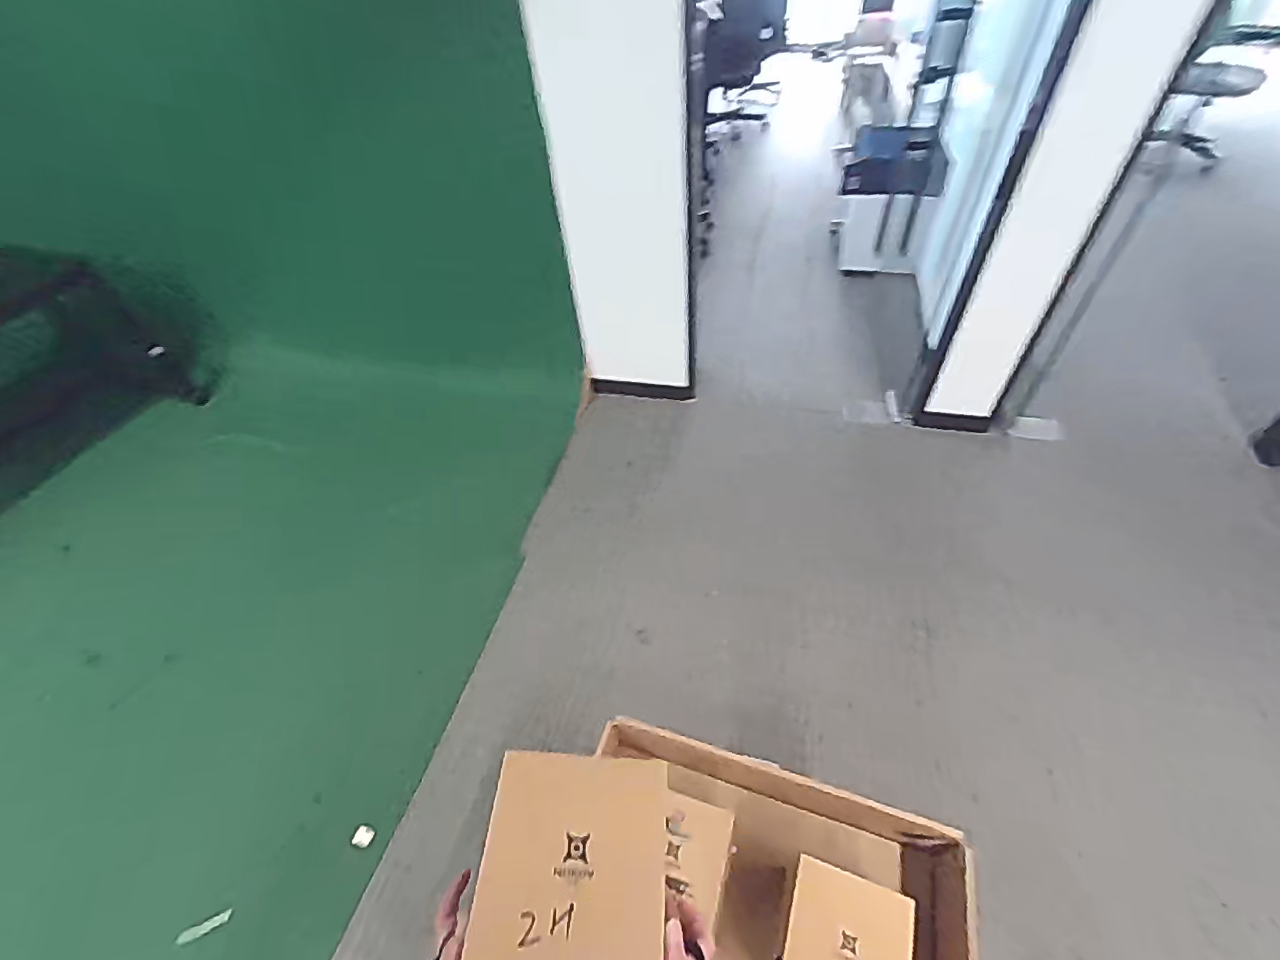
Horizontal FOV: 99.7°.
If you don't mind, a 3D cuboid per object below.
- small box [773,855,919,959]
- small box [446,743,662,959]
[{"bbox_3d":[0.296,0.697,0.800,0.168,0.176,0.179,13,52,17],"label":"small box"},{"bbox_3d":[-0.069,0.382,0.529,0.168,0.176,0.179,4,46,1],"label":"small box"}]
